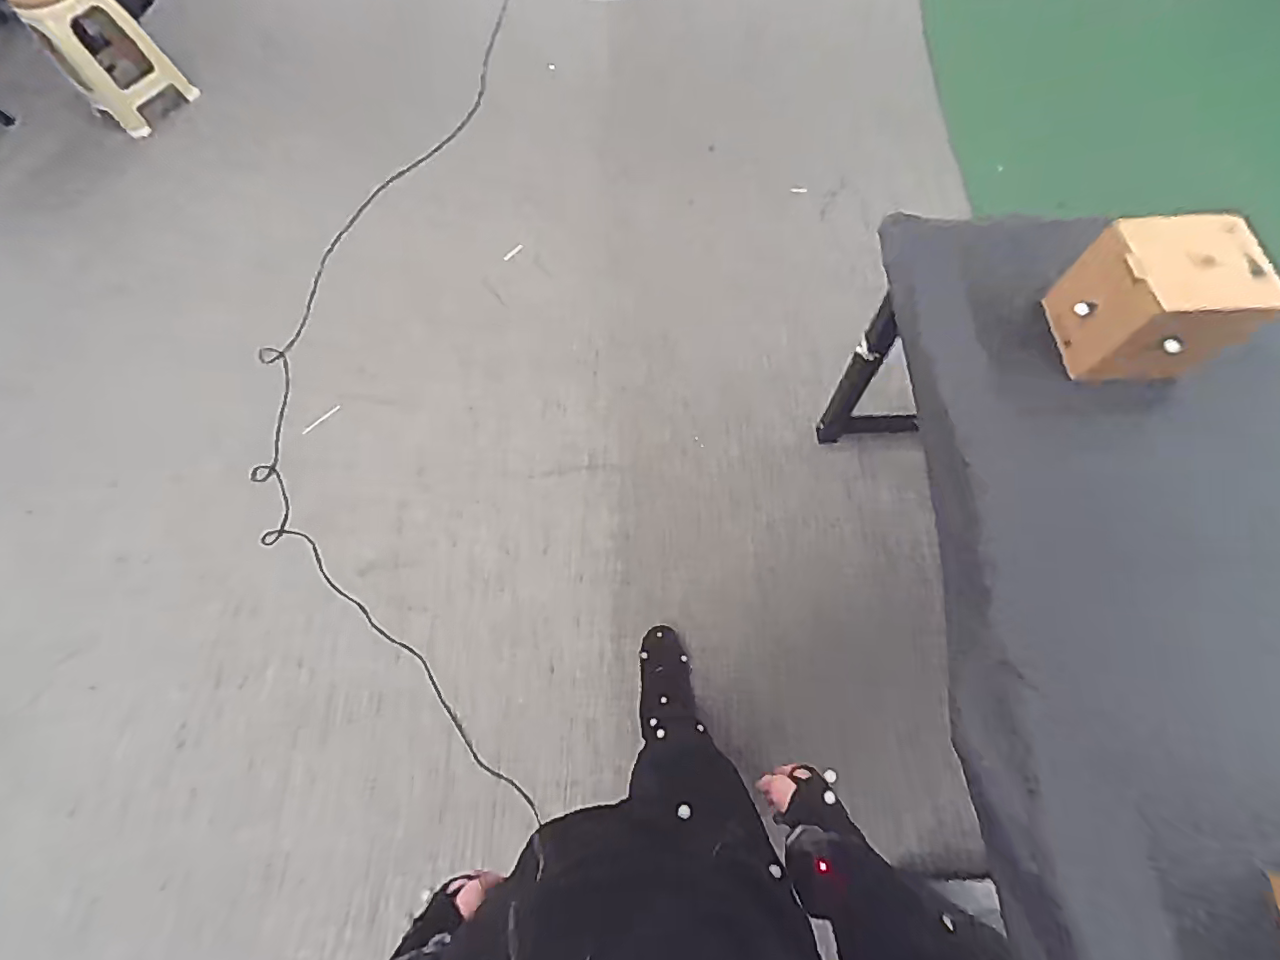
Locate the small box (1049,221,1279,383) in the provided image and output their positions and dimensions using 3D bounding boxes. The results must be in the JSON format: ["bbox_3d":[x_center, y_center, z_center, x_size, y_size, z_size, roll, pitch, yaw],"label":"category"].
[{"bbox_3d":[0.761,-0.258,0.812,0.179,0.176,0.168,-2,68,2],"label":"small box"}]
